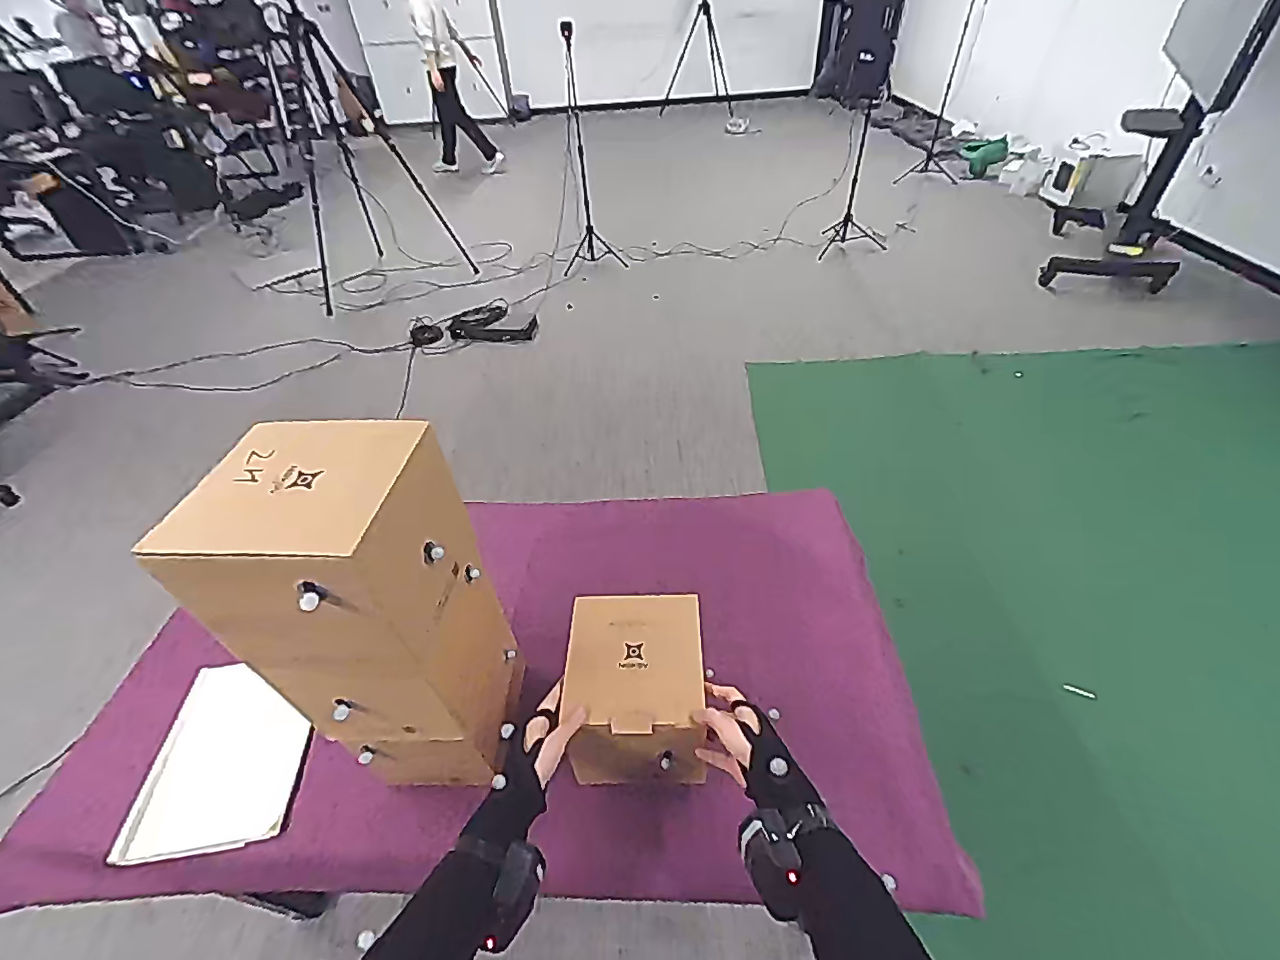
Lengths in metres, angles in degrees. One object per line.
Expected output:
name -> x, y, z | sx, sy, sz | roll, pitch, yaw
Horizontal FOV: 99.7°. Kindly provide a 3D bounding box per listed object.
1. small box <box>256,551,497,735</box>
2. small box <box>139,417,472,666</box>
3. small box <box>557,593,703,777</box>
small box -> -0.277, 0.175, 0.622 | 0.168, 0.176, 0.179 | -1, 42, 3
small box -> -0.278, 0.058, 0.505 | 0.179, 0.176, 0.168 | 0, 42, 5
small box -> -0.003, 0.270, 0.709 | 0.168, 0.176, 0.179 | -1, 41, 3
